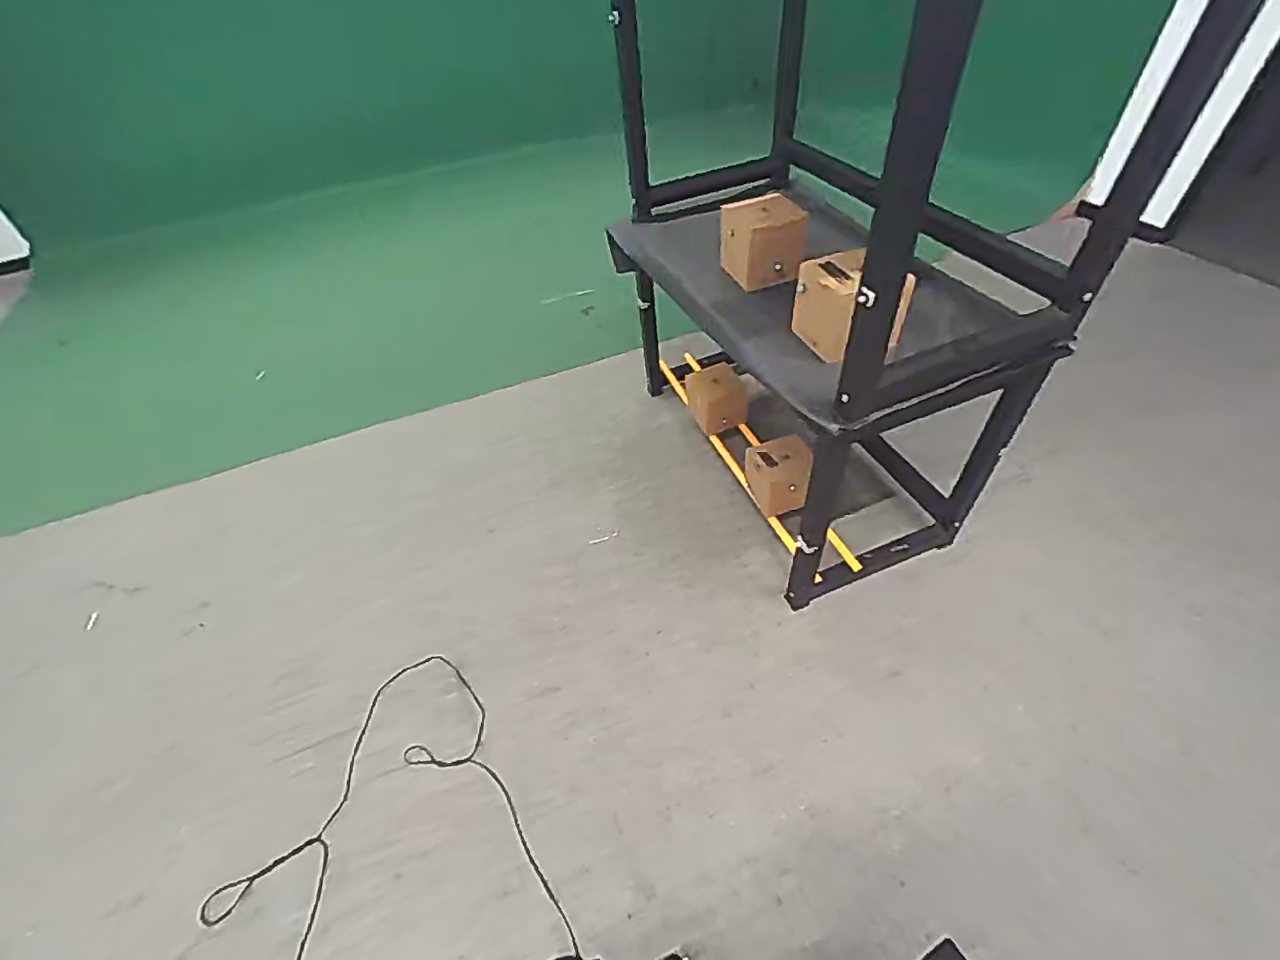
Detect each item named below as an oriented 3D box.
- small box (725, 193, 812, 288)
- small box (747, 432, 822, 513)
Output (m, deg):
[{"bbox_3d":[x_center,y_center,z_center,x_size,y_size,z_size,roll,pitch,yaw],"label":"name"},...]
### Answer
[{"bbox_3d":[0.335,-0.643,1.453,0.168,0.176,0.179,-17,48,-8],"label":"small box"},{"bbox_3d":[0.450,-0.019,1.716,0.179,0.176,0.168,-17,48,-8],"label":"small box"}]
